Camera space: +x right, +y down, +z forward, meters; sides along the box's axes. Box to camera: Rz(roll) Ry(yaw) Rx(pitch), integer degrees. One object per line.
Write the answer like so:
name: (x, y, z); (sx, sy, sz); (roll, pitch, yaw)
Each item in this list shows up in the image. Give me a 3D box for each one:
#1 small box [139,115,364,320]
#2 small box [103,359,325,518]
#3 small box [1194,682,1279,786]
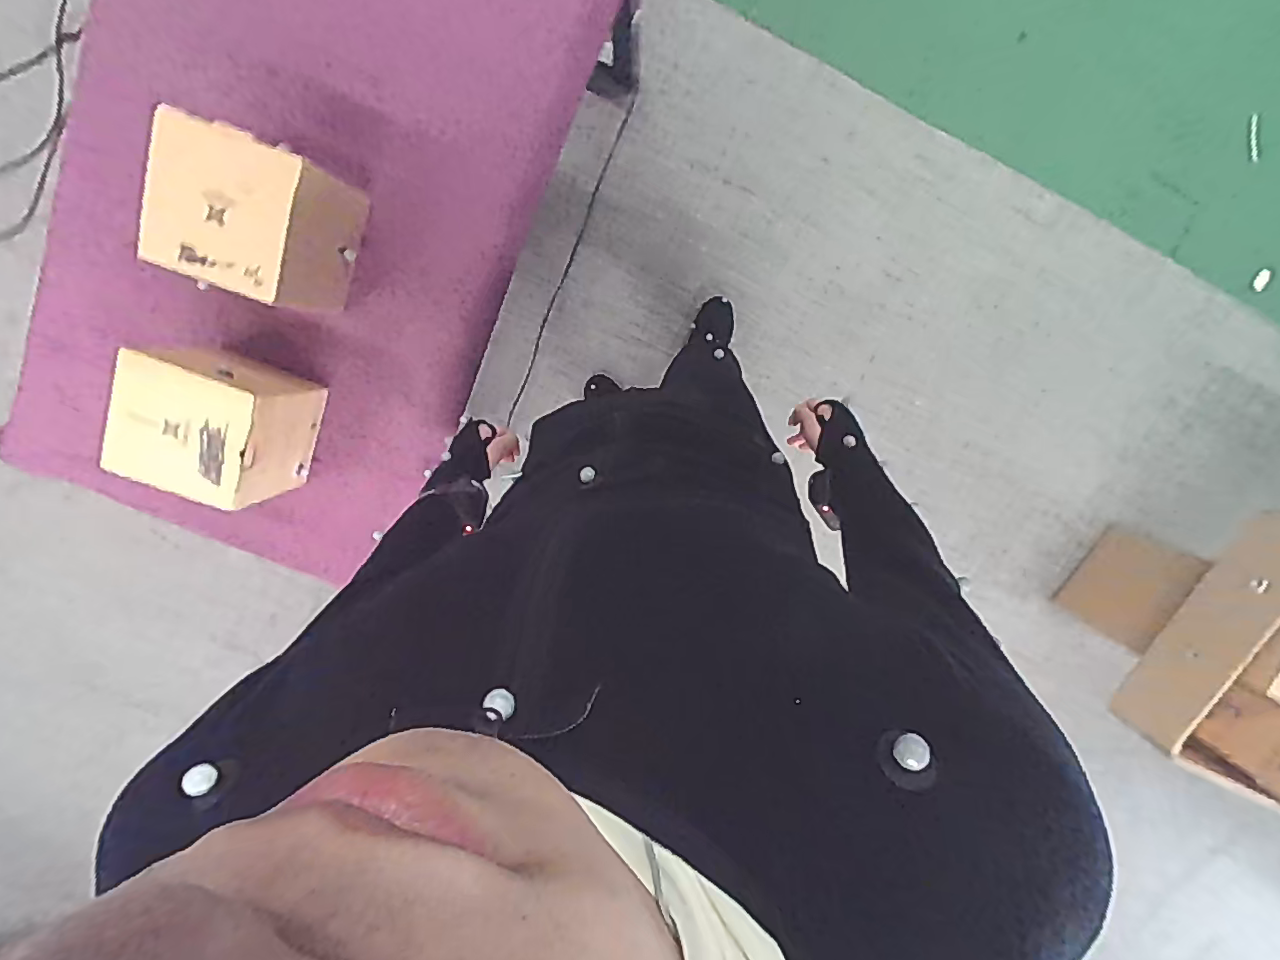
small box: (-0.496, -0.328, 0.717); (0.168, 0.176, 0.179); (20, 101, -5)
small box: (-0.592, -0.068, 0.774); (0.179, 0.176, 0.168); (20, 101, -4)
small box: (1.501, 0.612, 1.274); (0.179, 0.176, 0.168); (26, 102, -5)
